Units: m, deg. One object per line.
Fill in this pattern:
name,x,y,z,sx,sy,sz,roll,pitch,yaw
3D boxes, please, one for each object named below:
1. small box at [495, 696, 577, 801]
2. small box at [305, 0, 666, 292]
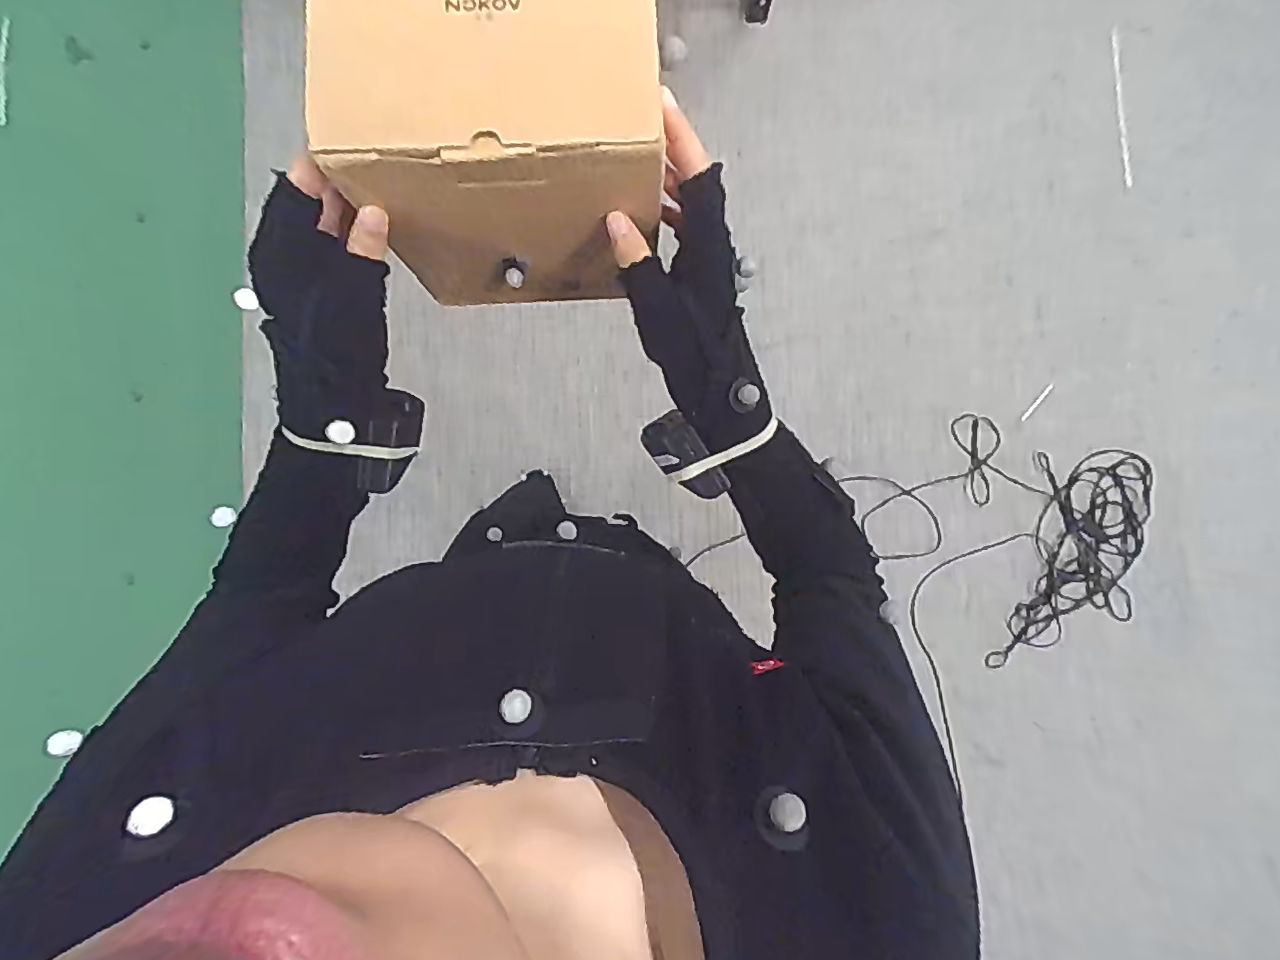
small box,-0.252,0.666,1.355,0.168,0.176,0.179,7,86,-2
small box,-0.074,-0.236,0.334,0.168,0.176,0.179,-3,85,-1
